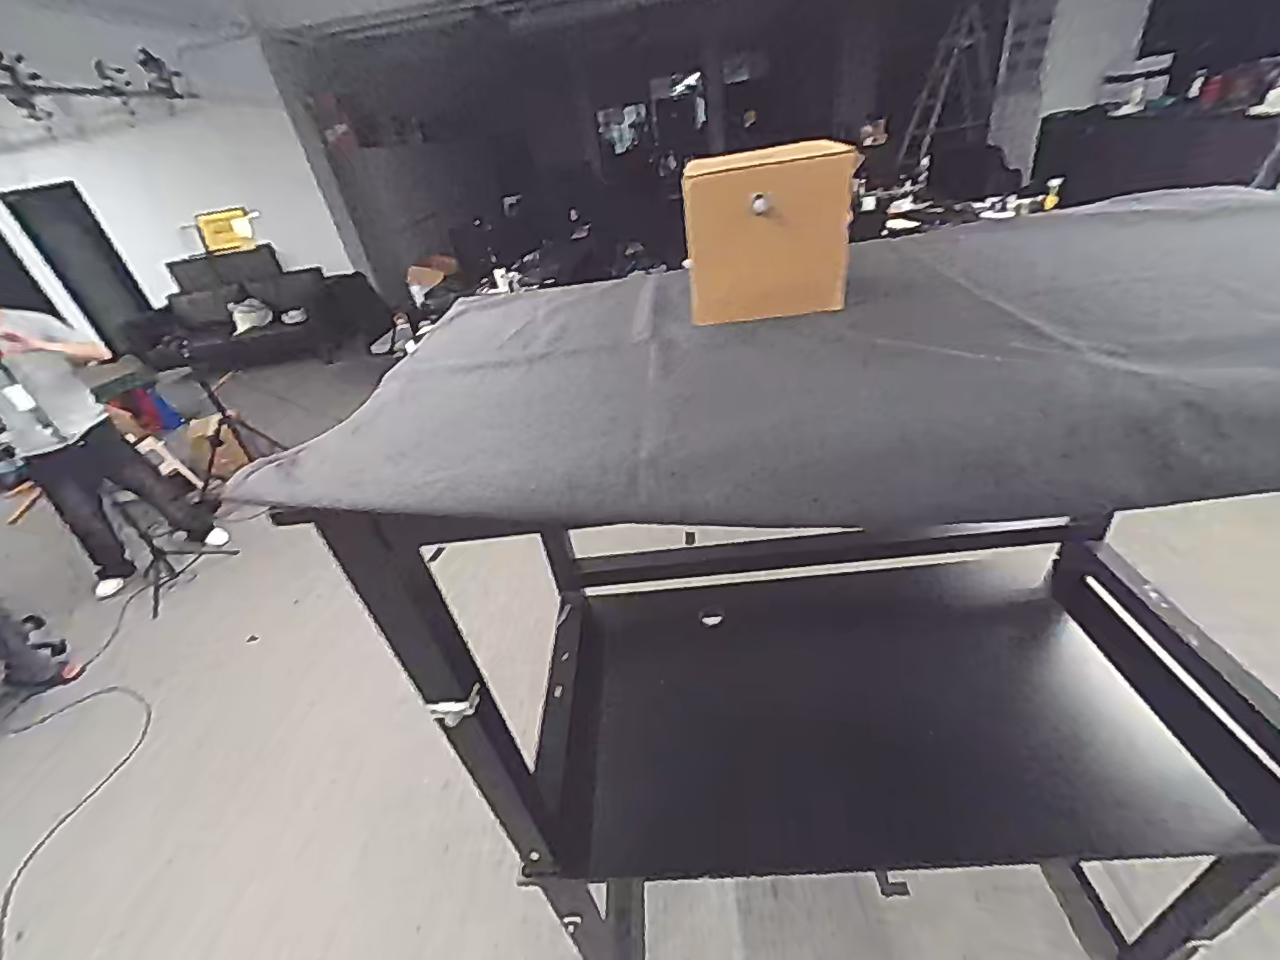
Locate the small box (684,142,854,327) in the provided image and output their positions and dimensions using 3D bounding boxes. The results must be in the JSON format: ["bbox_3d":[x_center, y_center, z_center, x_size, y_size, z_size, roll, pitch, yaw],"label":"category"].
[{"bbox_3d":[0.151,-0.303,0.670,0.179,0.176,0.168,-4,34,9],"label":"small box"}]
